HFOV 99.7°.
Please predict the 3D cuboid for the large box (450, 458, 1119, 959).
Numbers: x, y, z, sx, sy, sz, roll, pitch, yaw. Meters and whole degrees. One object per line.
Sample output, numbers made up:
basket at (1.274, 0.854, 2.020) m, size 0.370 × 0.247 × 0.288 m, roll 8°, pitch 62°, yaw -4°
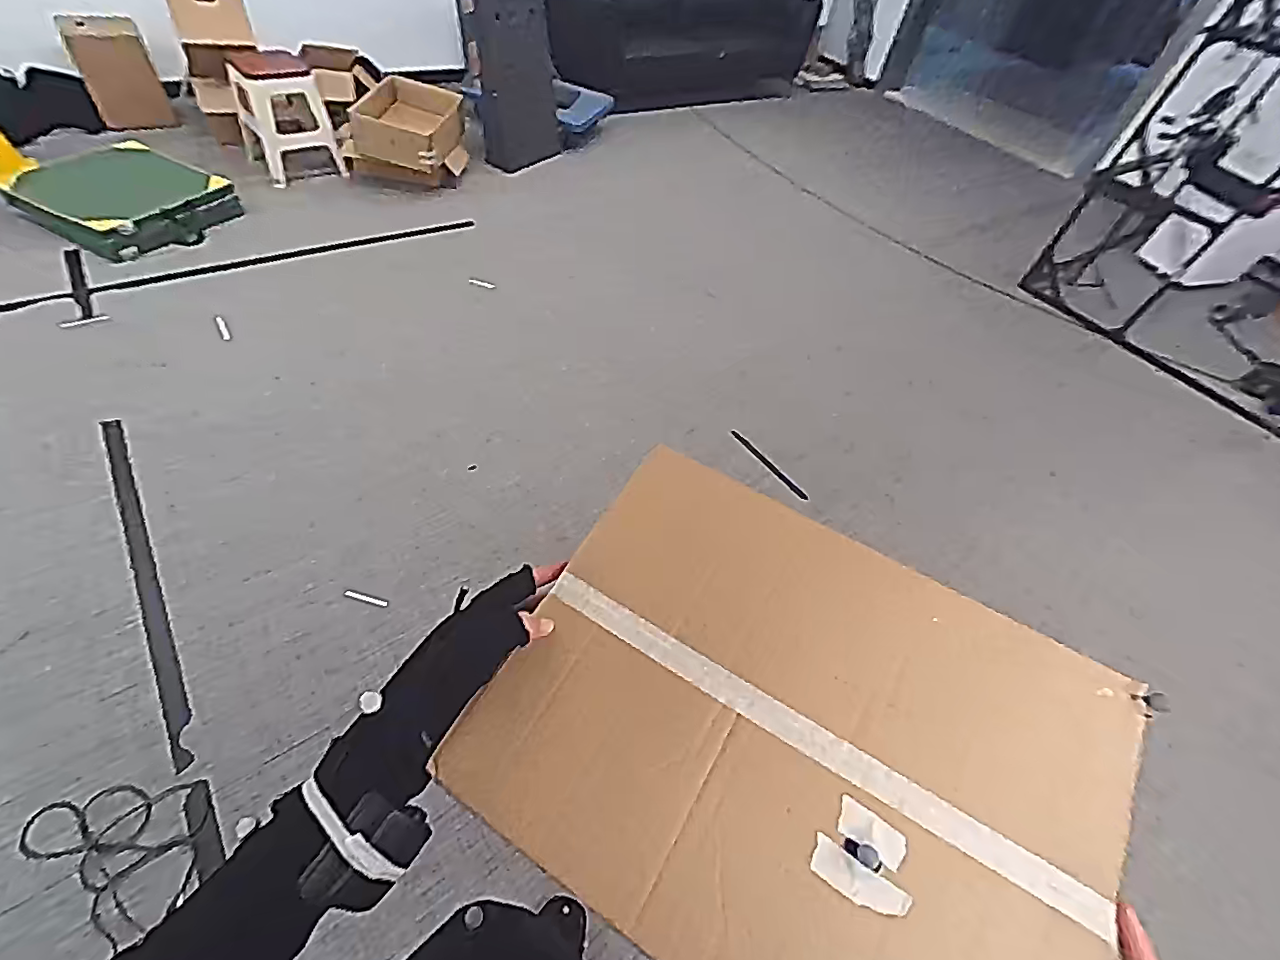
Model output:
large box at (0.110, 0.250, 0.520) m, size 0.408 × 0.320 × 0.320 m, roll 28°, pitch 65°, yaw 16°
